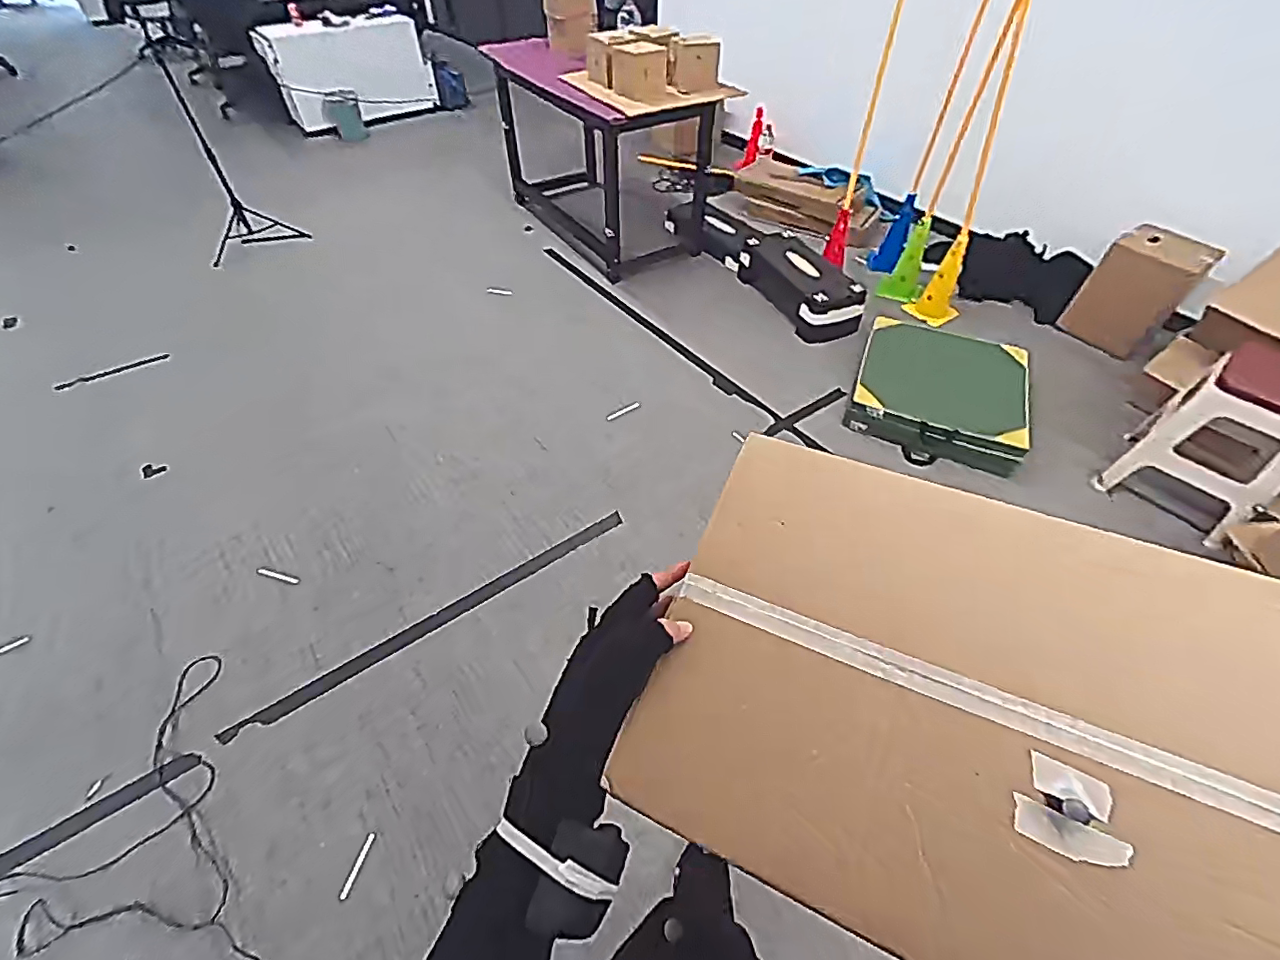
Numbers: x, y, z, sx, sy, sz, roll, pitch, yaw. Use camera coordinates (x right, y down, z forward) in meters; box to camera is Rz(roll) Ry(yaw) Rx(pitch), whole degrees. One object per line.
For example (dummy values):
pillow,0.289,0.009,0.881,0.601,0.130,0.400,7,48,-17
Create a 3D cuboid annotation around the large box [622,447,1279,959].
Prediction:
large box,0.244,0.221,0.509,0.408,0.320,0.320,19,66,19
